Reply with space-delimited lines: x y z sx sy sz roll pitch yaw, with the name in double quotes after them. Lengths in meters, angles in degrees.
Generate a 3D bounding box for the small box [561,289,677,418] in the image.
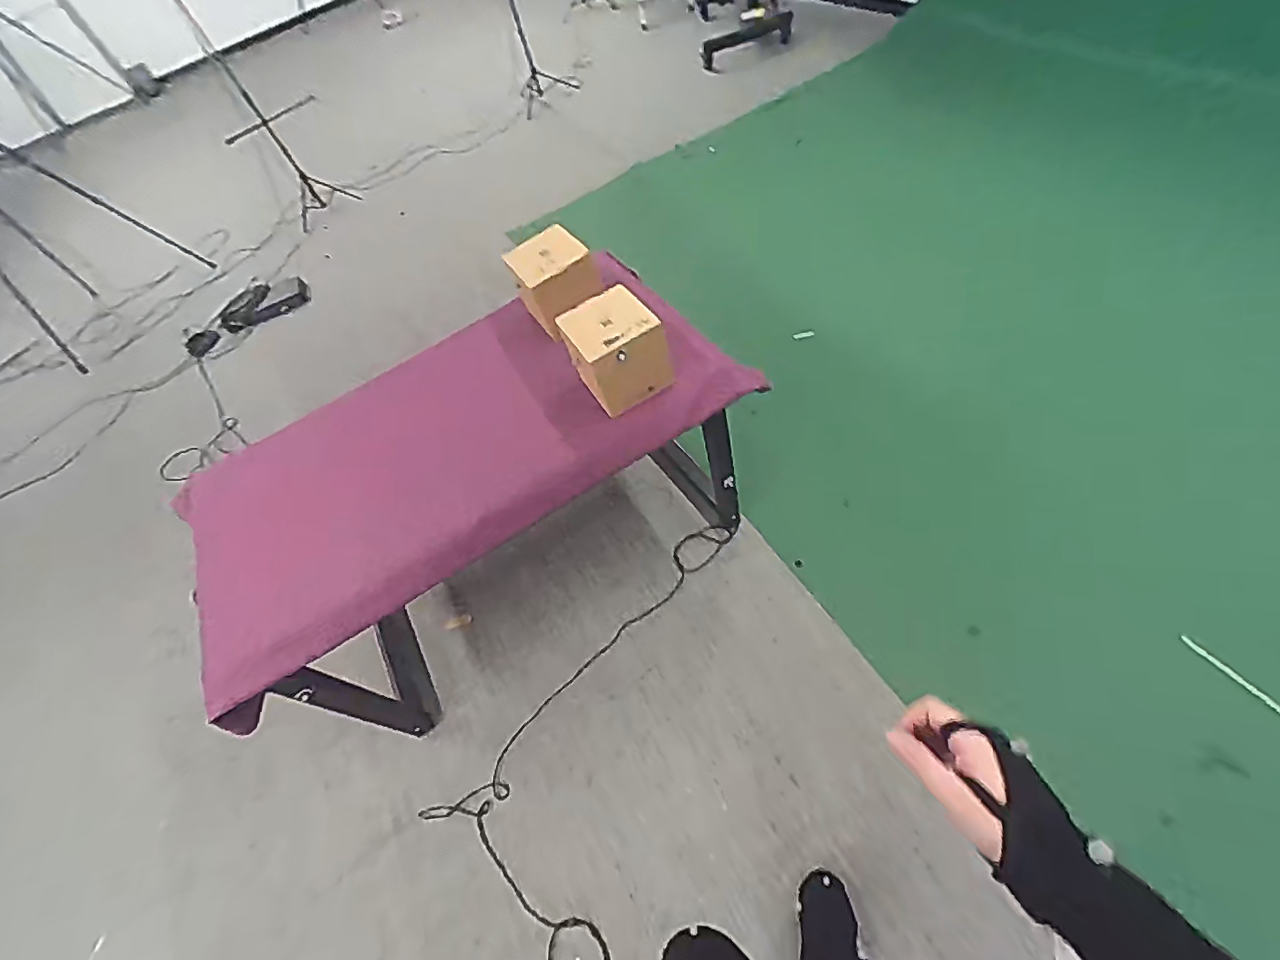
-0.041 -0.266 1.152 0.168 0.176 0.179 -31 52 -6 "small box"

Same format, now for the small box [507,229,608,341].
-0.195 -0.478 1.336 0.168 0.176 0.179 -34 55 -6 "small box"
